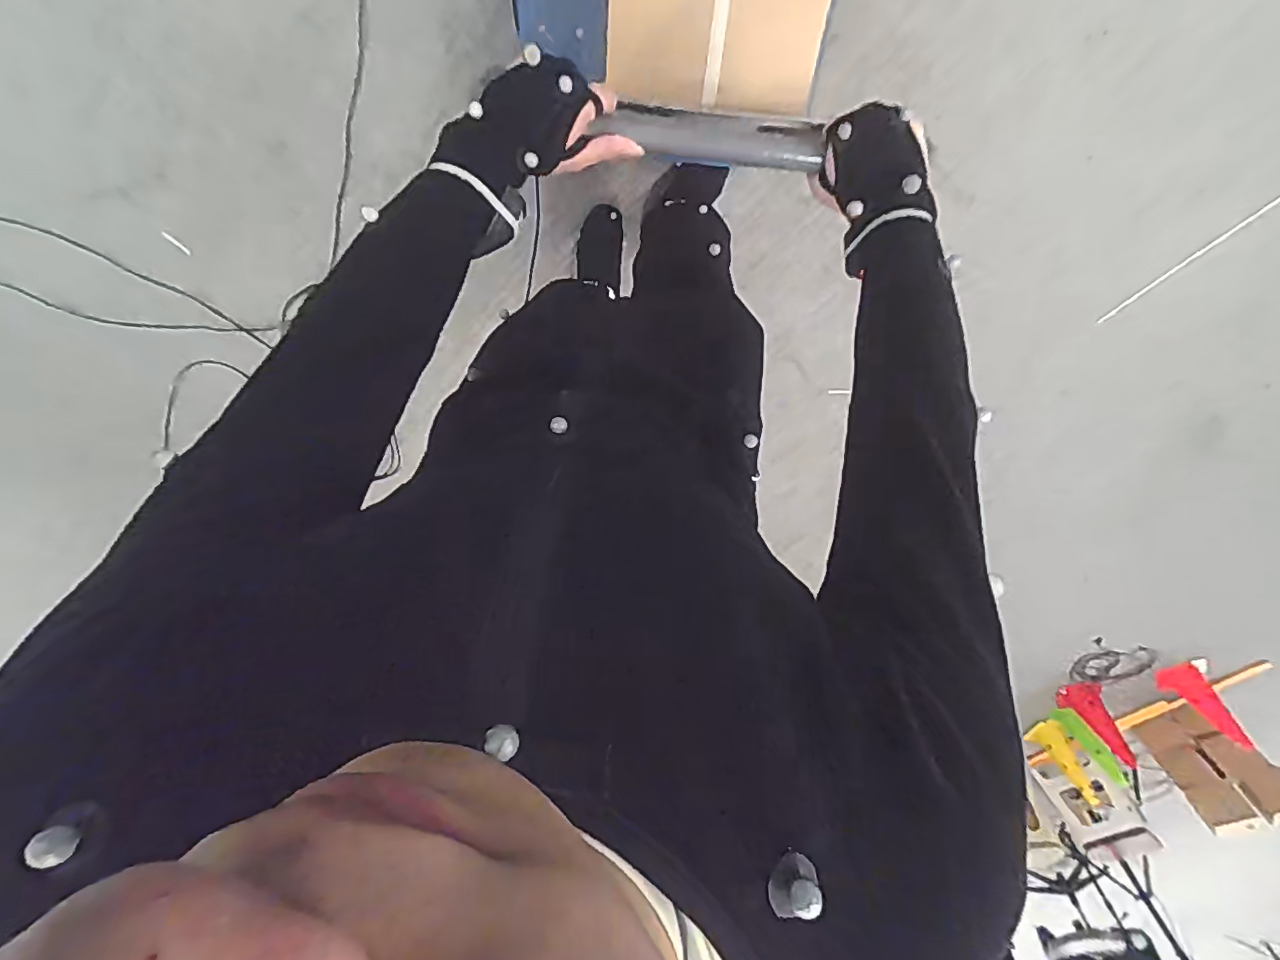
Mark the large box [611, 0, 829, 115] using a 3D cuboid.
[{"bbox_3d":[0.122,-0.832,0.856,0.320,0.320,0.408,3,125,-5],"label":"large box"}]
